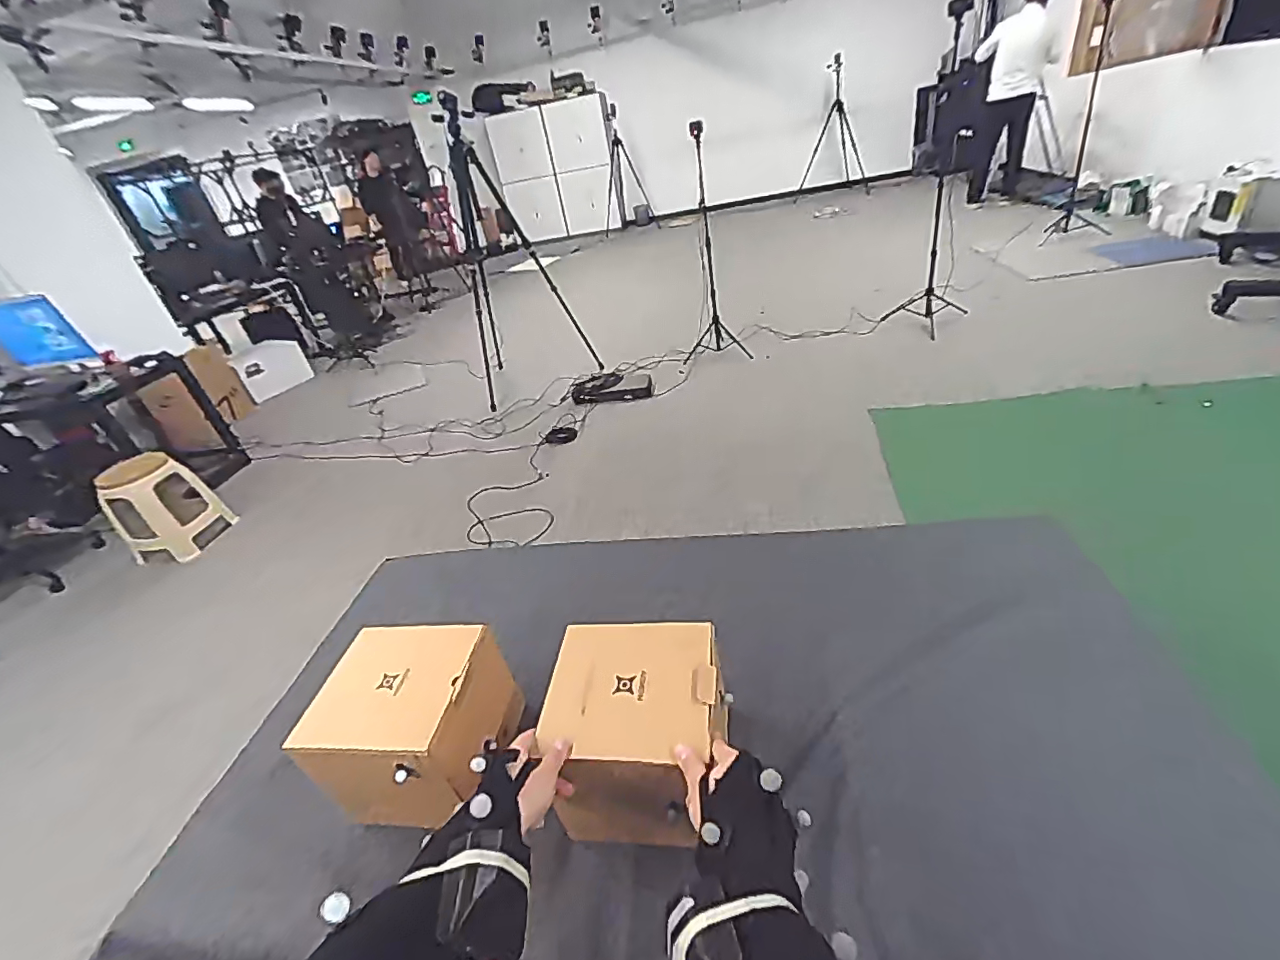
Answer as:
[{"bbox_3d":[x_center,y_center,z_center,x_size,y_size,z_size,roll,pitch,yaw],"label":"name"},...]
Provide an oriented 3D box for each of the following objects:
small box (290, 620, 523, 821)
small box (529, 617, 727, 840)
[{"bbox_3d":[-0.269,0.295,0.668,0.179,0.176,0.168,-5,33,11],"label":"small box"},{"bbox_3d":[0.004,0.274,0.605,0.179,0.176,0.168,-6,32,13],"label":"small box"}]
